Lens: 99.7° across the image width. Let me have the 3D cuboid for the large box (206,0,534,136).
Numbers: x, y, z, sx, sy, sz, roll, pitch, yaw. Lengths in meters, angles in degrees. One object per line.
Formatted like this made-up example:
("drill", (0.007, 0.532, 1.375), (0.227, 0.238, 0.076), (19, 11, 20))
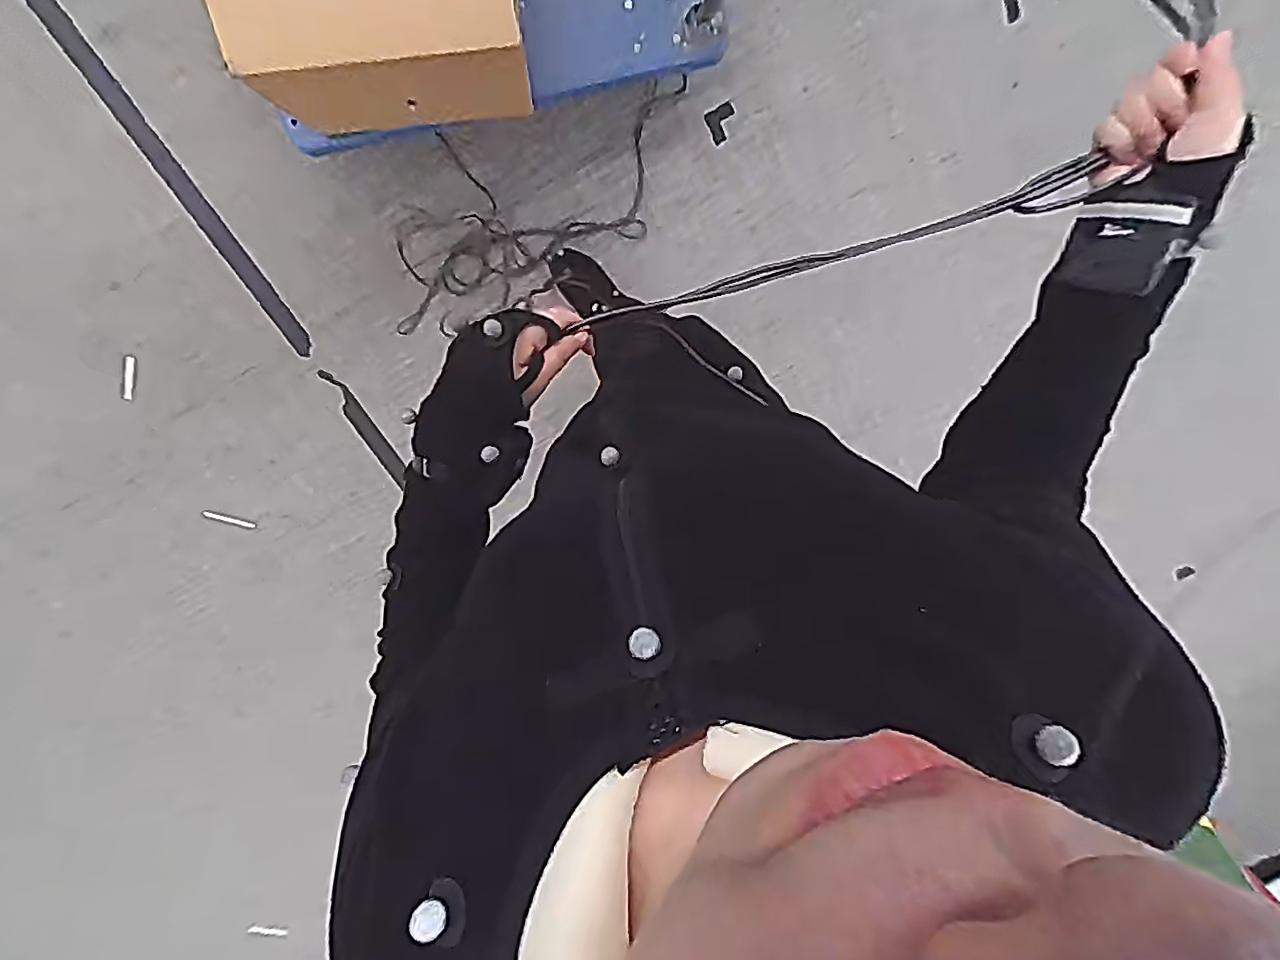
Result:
("large box", (-0.403, -0.772, 0.843), (0.408, 0.320, 0.320), (-10, 109, -4))
